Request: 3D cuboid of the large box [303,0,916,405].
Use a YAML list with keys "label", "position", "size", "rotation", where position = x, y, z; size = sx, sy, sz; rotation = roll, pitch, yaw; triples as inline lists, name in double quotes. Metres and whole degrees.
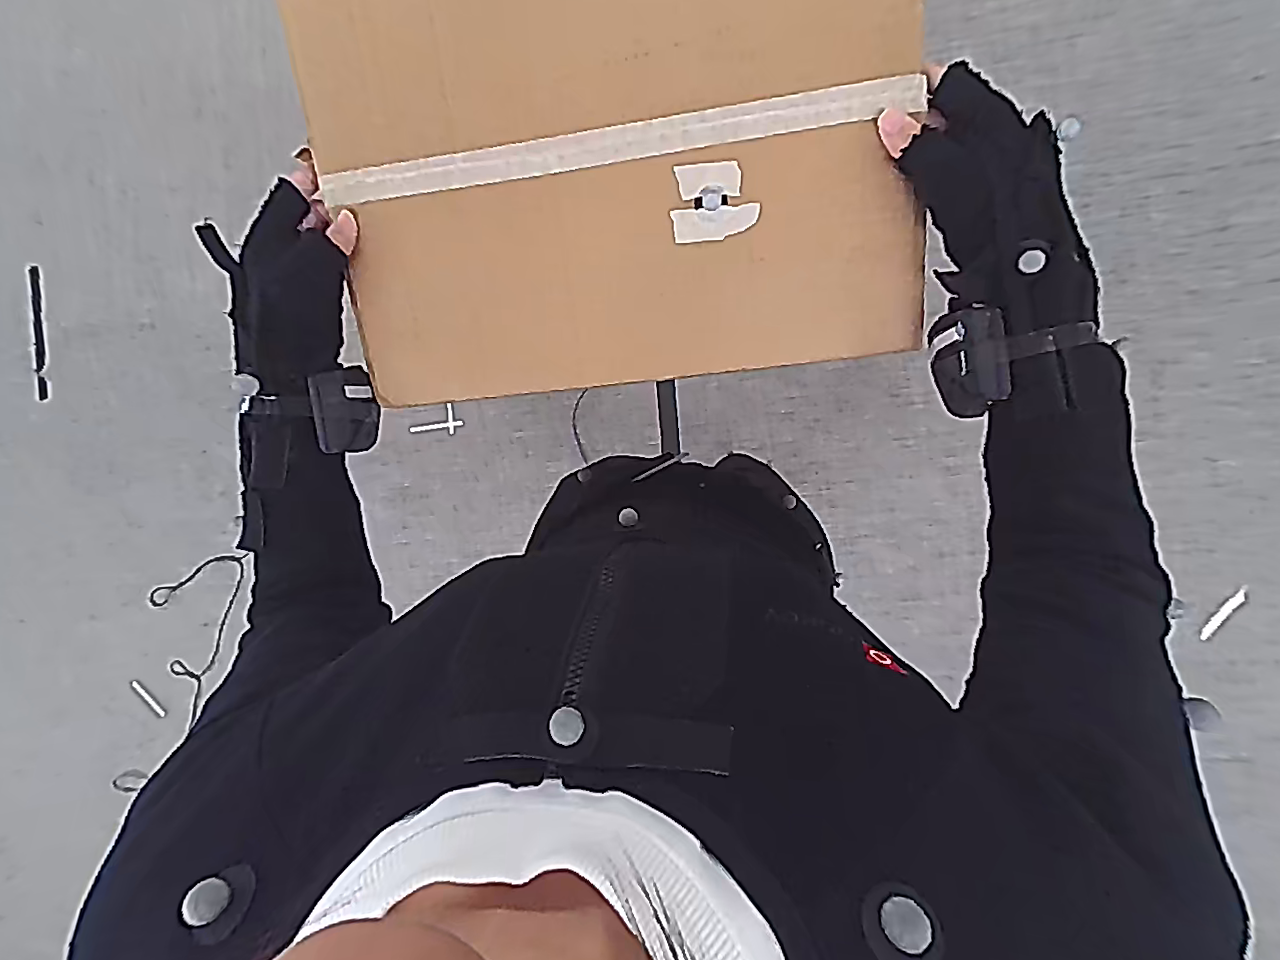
- label: "large box"
  position: [-0.007, -0.265, 0.518]
  size: [0.408, 0.320, 0.320]
  rotation: [-6, 105, 6]
